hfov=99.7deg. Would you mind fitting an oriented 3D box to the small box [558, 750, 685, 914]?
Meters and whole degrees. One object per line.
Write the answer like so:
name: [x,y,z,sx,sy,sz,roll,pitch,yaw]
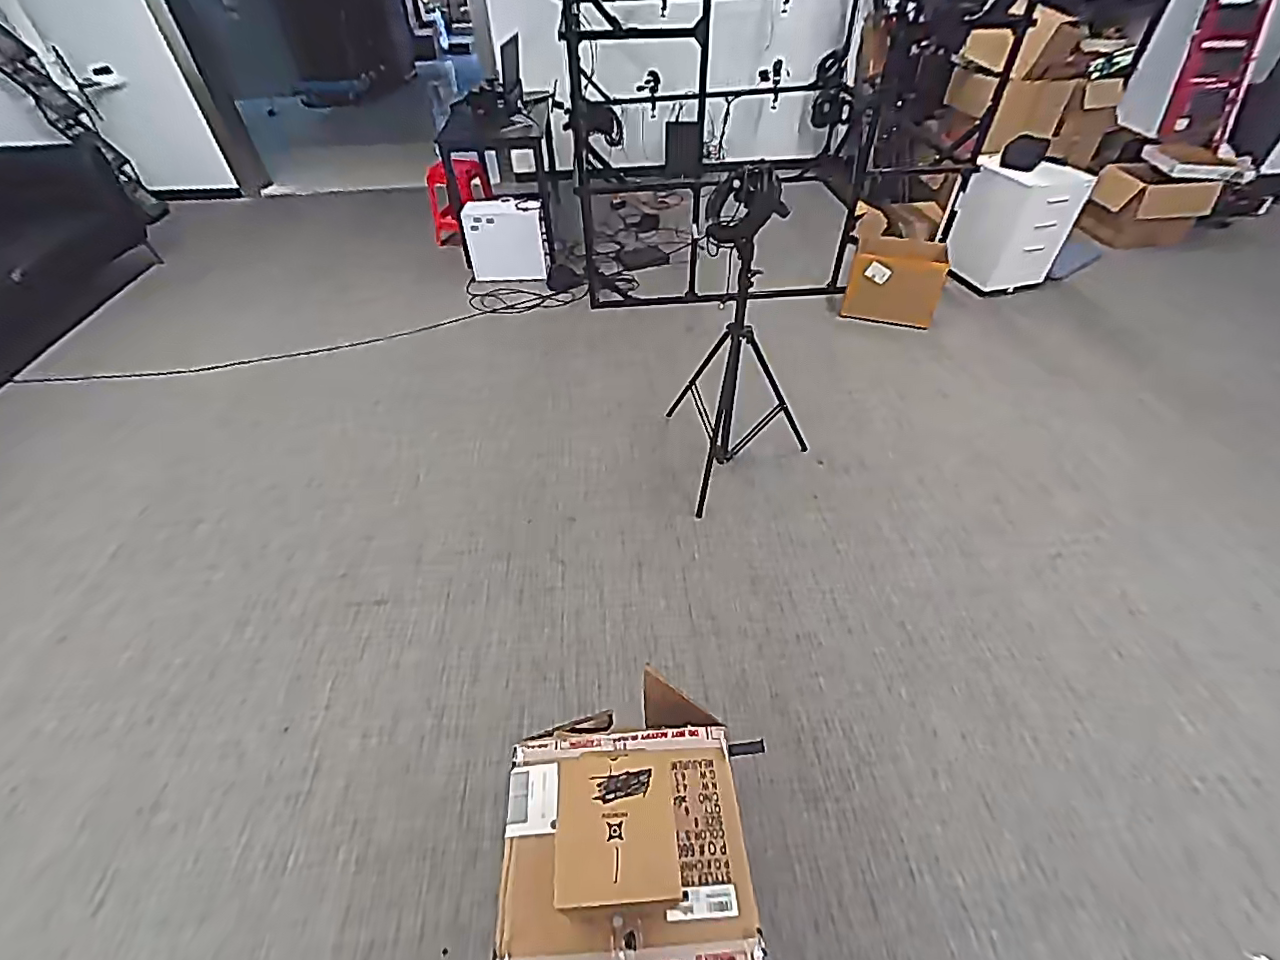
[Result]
small box: [-0.026,0.523,0.802,0.168,0.176,0.179,-4,48,-1]
